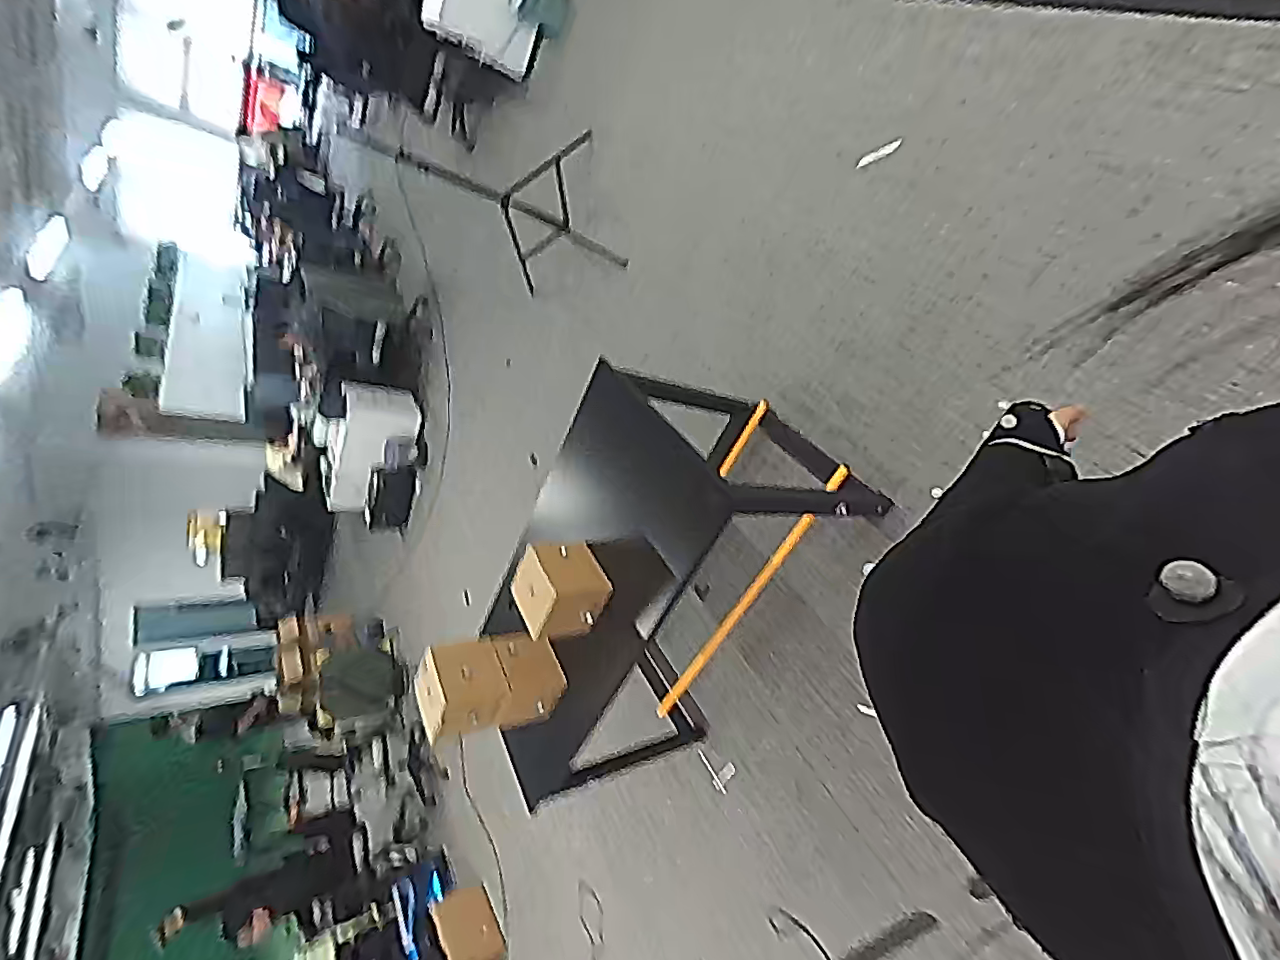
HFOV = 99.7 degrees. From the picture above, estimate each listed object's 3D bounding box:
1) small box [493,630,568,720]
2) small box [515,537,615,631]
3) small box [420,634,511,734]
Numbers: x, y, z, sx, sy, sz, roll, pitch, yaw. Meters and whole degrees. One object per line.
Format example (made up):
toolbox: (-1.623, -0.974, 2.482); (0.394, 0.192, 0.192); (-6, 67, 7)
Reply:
small box: (-0.328, 0.542, 1.524); (0.179, 0.176, 0.168); (54, 126, 38)
small box: (-0.193, 0.262, 1.390); (0.179, 0.176, 0.168); (51, 125, 39)
small box: (-0.460, 0.529, 1.428); (0.179, 0.176, 0.168); (51, 124, 40)
